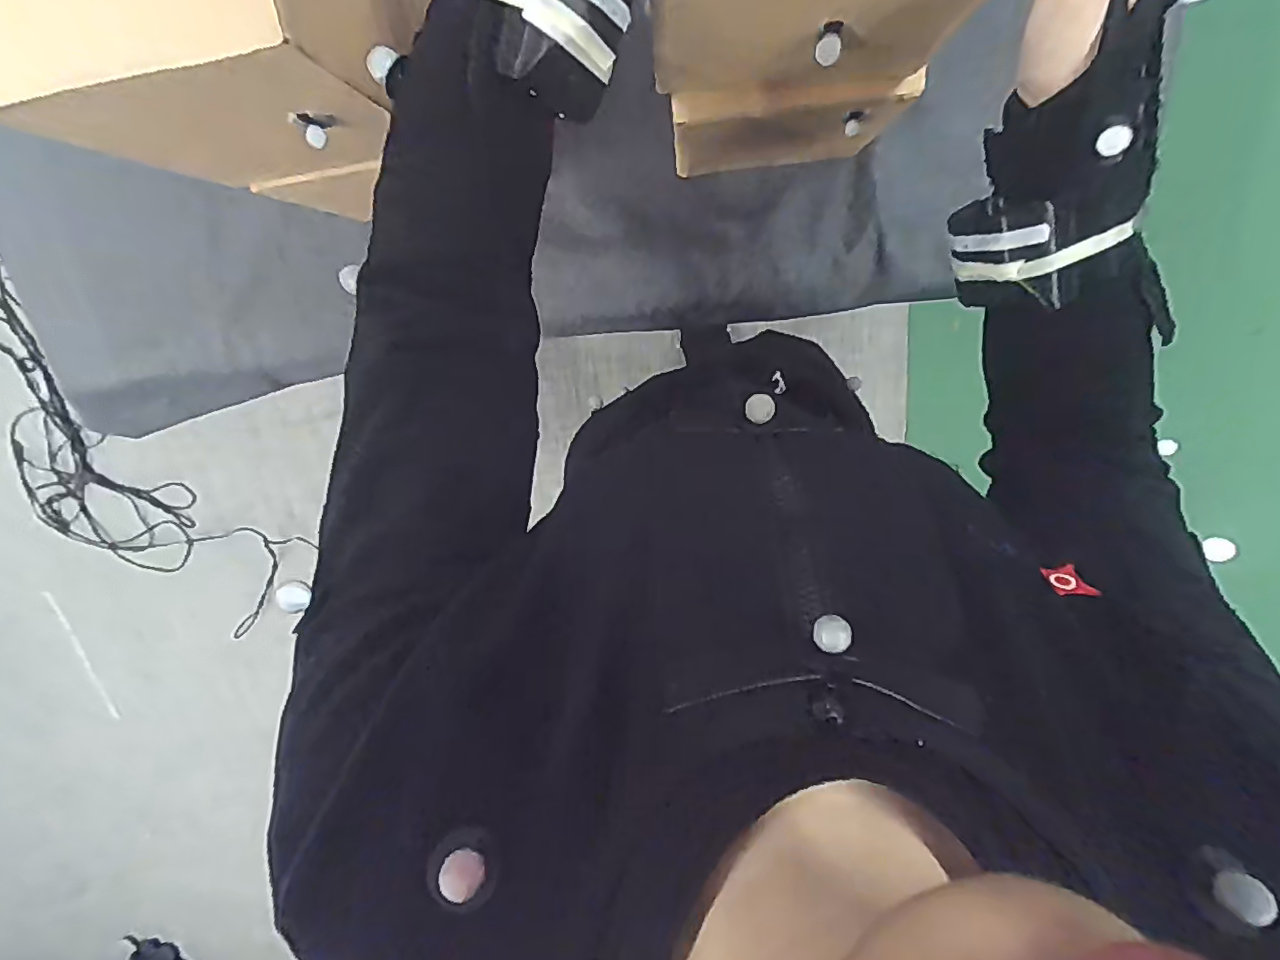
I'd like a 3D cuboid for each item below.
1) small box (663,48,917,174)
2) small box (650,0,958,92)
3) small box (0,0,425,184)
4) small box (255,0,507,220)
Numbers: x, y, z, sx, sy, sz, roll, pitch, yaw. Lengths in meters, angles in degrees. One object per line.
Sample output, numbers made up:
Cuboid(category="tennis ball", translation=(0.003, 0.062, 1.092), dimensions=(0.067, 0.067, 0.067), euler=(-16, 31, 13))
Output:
Cuboid(category="small box", translation=(0.105, -0.365, 0.439), dimensions=(0.179, 0.176, 0.168), euler=(-4, 107, 5))
Cuboid(category="small box", translation=(0.088, -0.329, 0.275), dimensions=(0.179, 0.176, 0.168), euler=(-1, 107, 4))
Cuboid(category="small box", translation=(-0.248, -0.292, 0.315), dimensions=(0.179, 0.176, 0.168), euler=(-7, 106, 7))
Cuboid(category="small box", translation=(-0.231, -0.343, 0.468), dimensions=(0.168, 0.176, 0.179), euler=(-6, 108, 6))
